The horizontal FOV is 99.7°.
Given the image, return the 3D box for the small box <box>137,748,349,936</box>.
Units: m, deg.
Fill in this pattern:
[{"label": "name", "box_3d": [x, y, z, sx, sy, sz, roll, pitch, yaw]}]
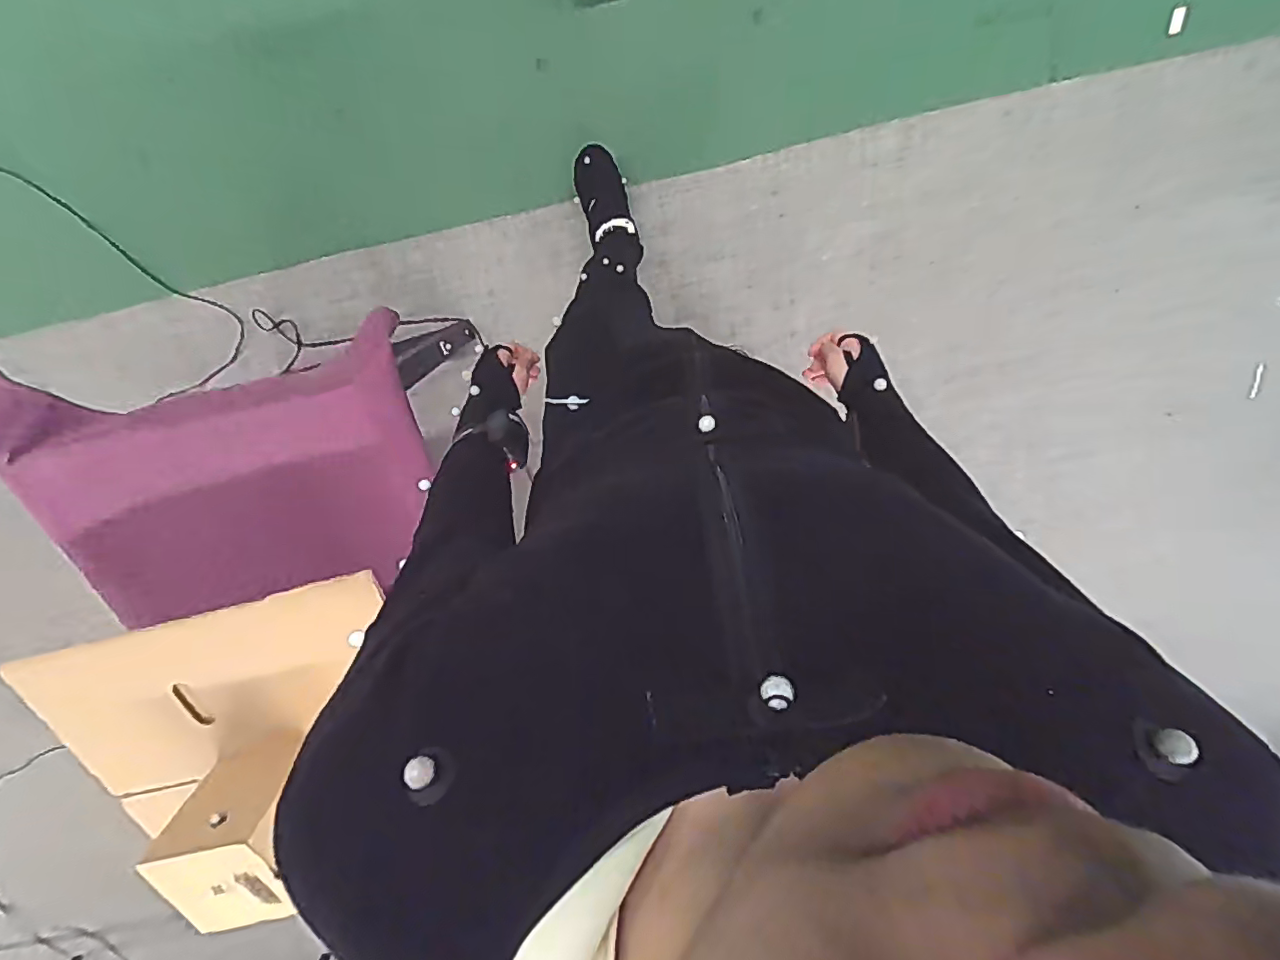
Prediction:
[{"label": "small box", "box_3d": [-0.581, 0.544, 0.829, 0.179, 0.176, 0.168, -15, 112, 5]}]
